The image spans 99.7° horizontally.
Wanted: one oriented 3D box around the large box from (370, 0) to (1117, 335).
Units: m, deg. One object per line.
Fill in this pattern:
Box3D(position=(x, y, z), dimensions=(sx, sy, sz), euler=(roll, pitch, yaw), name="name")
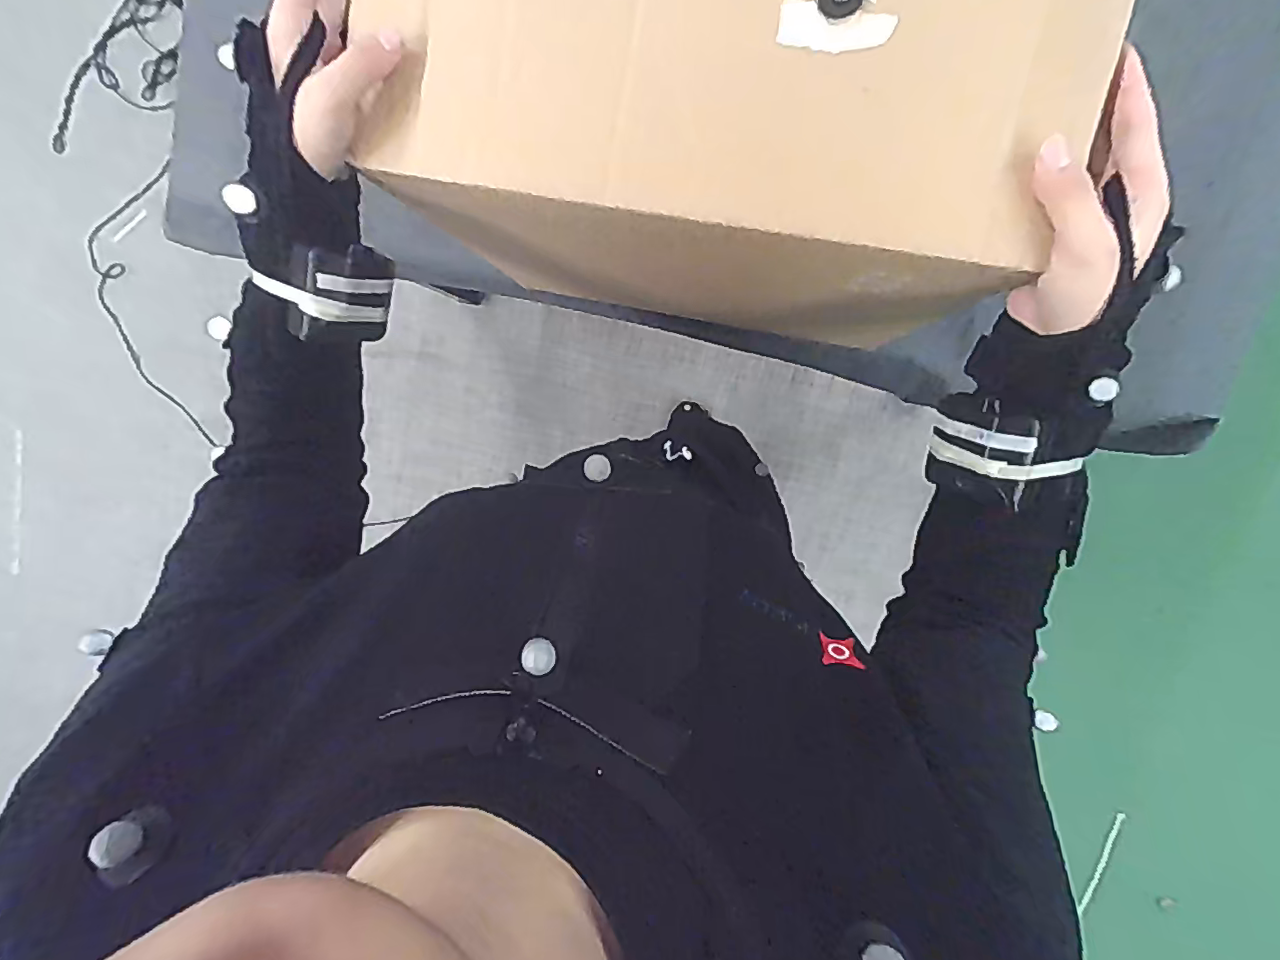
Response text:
Box3D(position=(0.070, -0.323, 0.437), dimensions=(0.408, 0.320, 0.320), euler=(12, 99, 5), name="large box")
